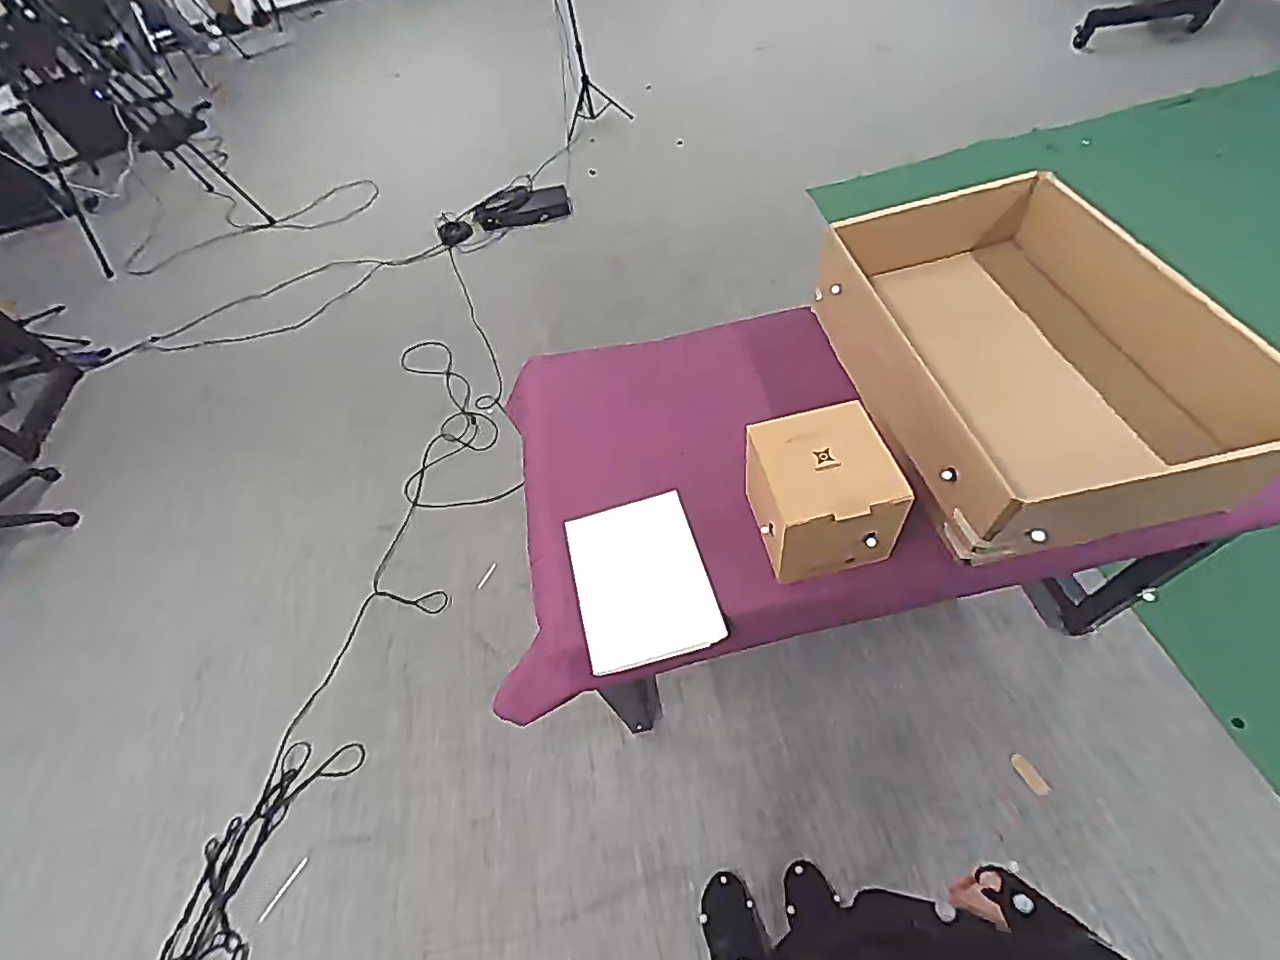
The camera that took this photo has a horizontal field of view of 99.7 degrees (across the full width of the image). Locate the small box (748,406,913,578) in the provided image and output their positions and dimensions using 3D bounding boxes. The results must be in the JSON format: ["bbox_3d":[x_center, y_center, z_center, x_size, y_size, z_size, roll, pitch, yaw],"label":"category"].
[{"bbox_3d":[0.259,0.026,0.779,0.168,0.176,0.179,-12,52,1],"label":"small box"}]
